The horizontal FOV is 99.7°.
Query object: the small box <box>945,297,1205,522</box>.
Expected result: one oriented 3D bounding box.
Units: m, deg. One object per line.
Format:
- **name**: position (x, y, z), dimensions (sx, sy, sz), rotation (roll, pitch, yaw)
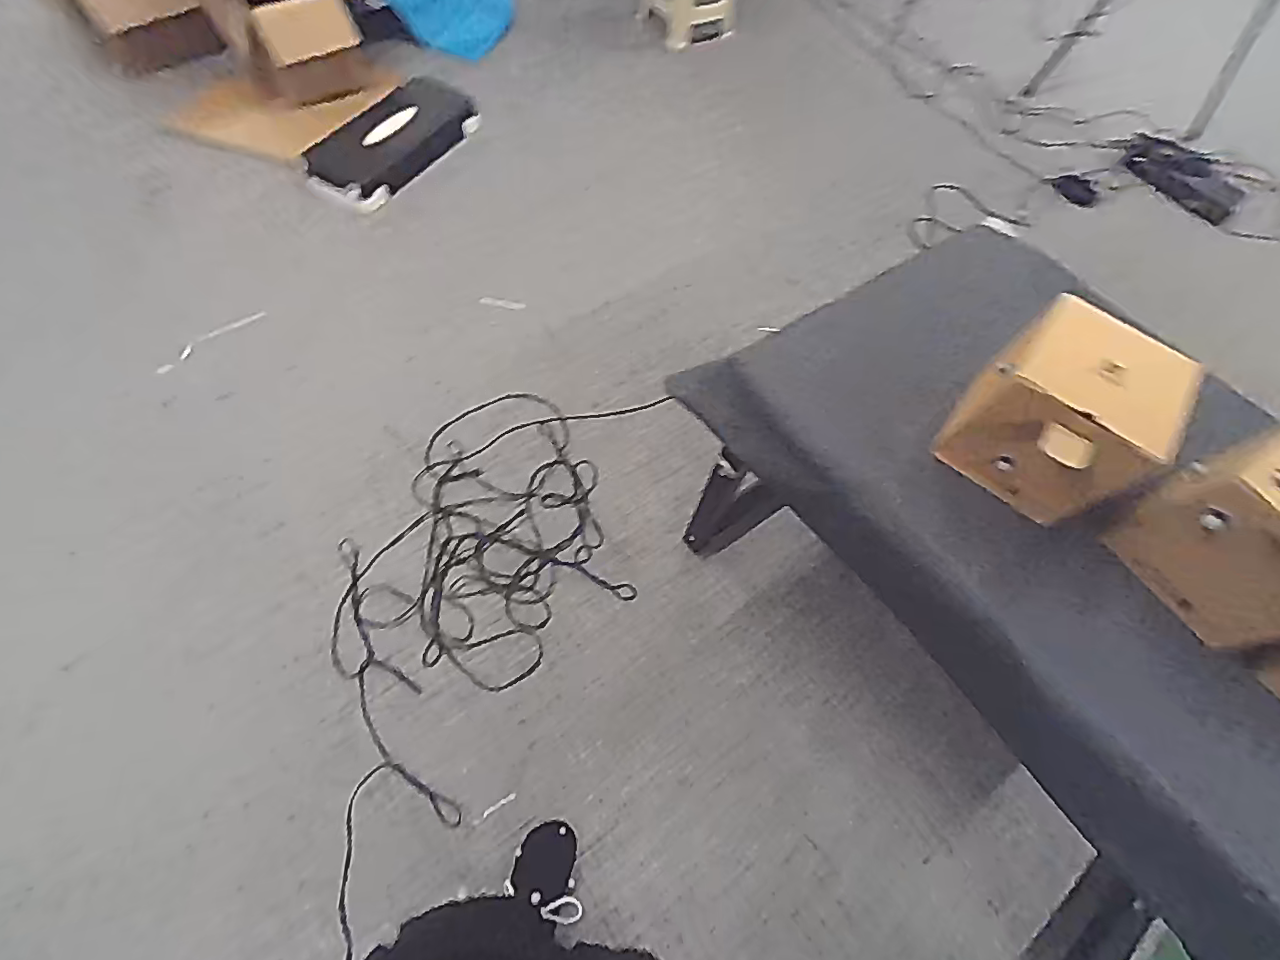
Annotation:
- **small box**: position (0.521, -0.082, 0.669), dimensions (0.168, 0.176, 0.179), rotation (38, 65, 13)
